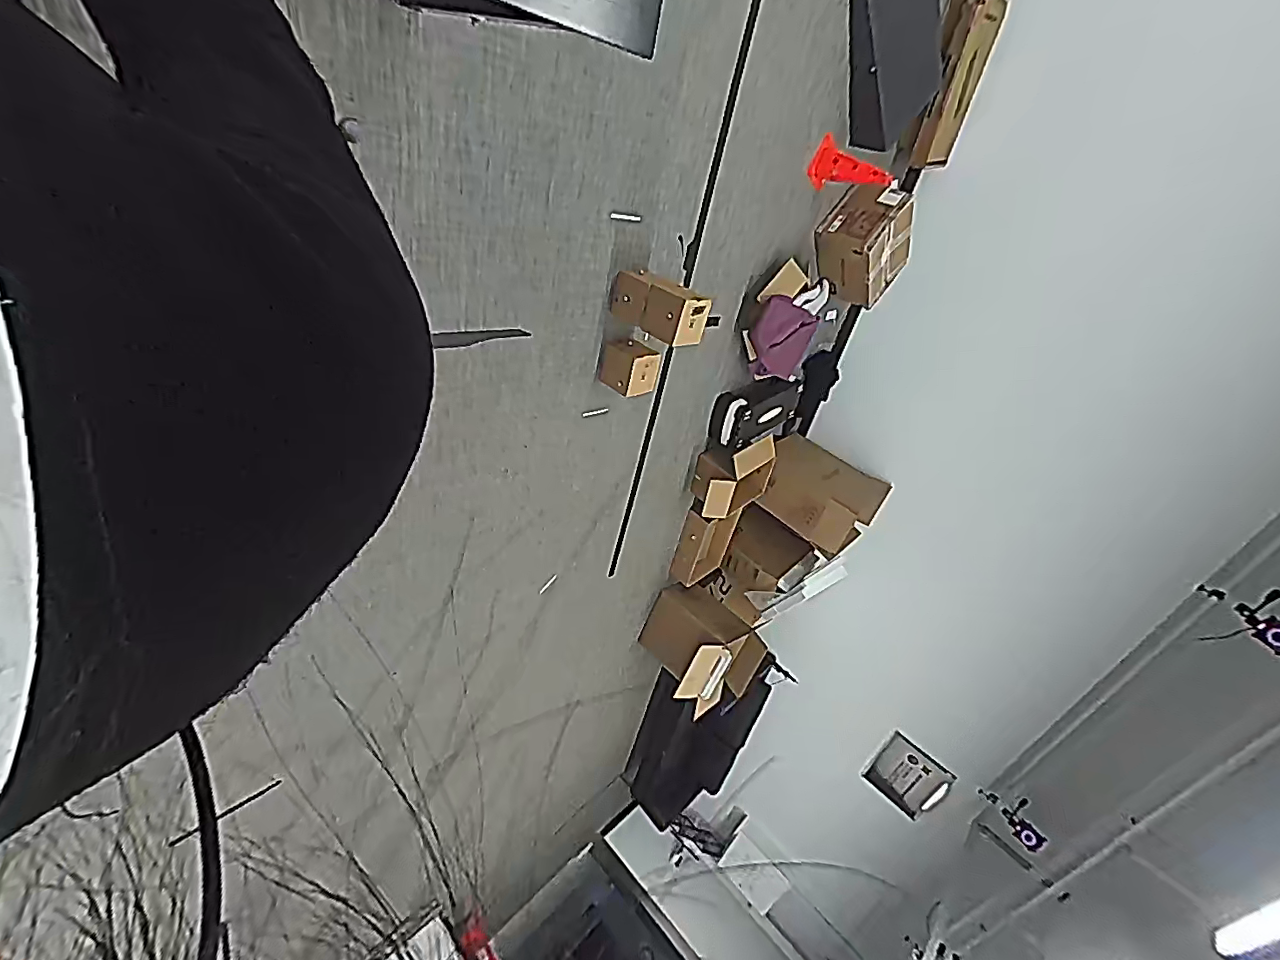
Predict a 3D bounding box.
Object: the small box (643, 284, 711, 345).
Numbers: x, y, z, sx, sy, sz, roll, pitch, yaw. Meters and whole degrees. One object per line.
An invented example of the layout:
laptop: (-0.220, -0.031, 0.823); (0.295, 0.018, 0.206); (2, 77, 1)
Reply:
small box: (0.134, -0.621, 2.020); (0.168, 0.176, 0.179); (-19, 136, -45)

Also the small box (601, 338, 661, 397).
small box: (-0.043, -0.473, 2.255); (0.168, 0.176, 0.179); (-22, 138, -43)

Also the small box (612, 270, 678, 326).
small box: (0.014, -0.706, 2.098); (0.179, 0.176, 0.168); (-18, 135, -44)
